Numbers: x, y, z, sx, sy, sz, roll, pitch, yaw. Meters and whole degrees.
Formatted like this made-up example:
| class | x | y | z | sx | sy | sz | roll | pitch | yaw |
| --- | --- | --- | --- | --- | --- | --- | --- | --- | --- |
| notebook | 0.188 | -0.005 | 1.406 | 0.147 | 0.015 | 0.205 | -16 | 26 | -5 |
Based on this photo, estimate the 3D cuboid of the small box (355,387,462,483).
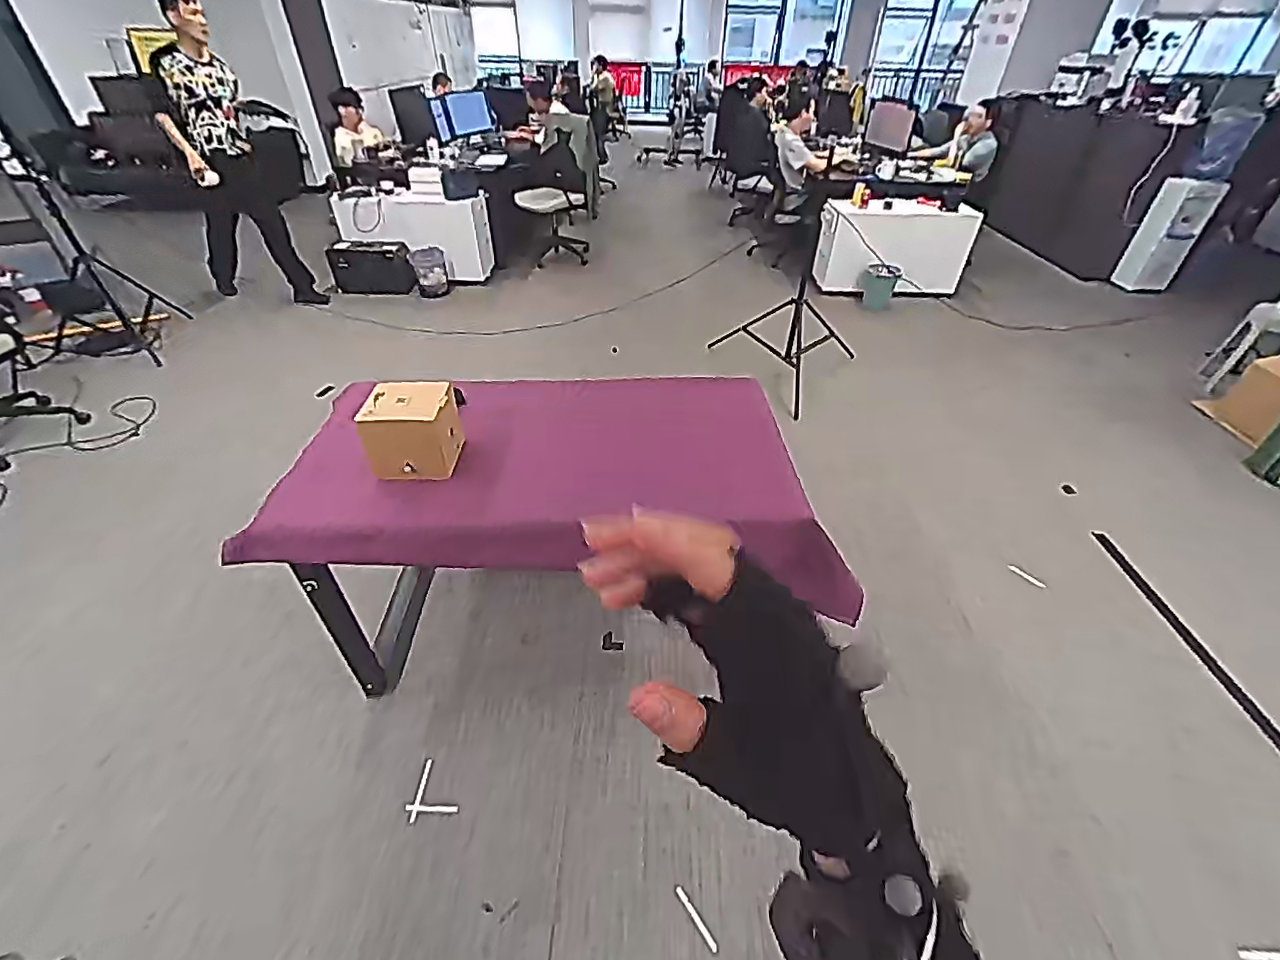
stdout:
| class | x | y | z | sx | sy | sz | roll | pitch | yaw |
| --- | --- | --- | --- | --- | --- | --- | --- | --- | --- |
| small box | -0.535 | -0.106 | 1.280 | 0.179 | 0.176 | 0.168 | 0 | 39 | -2 |
